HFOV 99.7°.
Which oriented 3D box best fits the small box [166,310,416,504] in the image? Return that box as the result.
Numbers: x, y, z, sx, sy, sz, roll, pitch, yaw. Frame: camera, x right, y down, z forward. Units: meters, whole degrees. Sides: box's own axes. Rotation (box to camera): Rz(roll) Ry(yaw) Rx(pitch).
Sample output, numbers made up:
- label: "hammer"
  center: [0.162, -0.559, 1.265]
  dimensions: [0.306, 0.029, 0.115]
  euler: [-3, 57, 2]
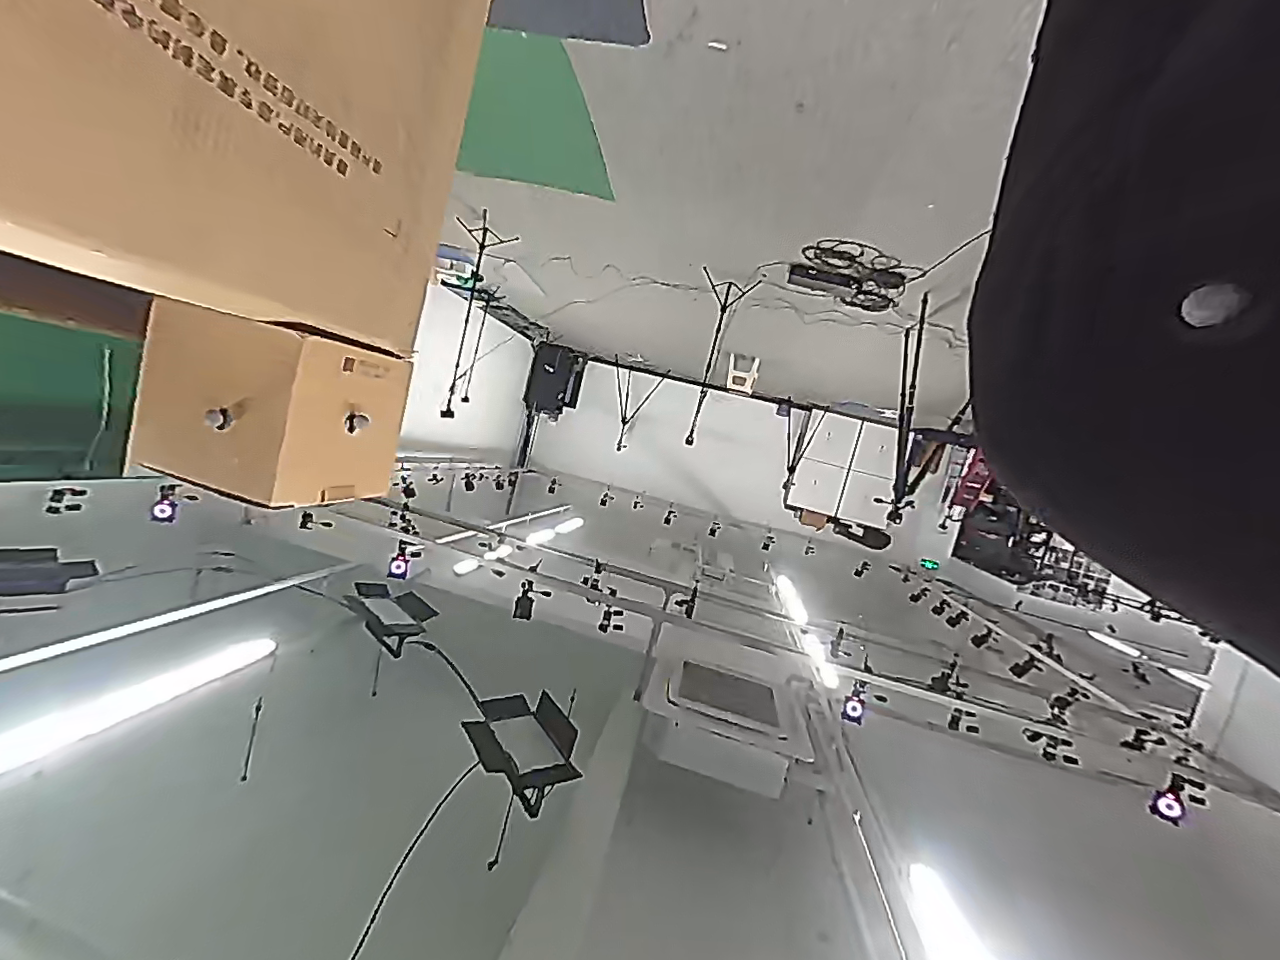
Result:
- label: "small box"
  center: [-0.377, -0.082, 0.610]
  dimensions: [0.179, 0.176, 0.168]
  euler: [15, -175, 12]
